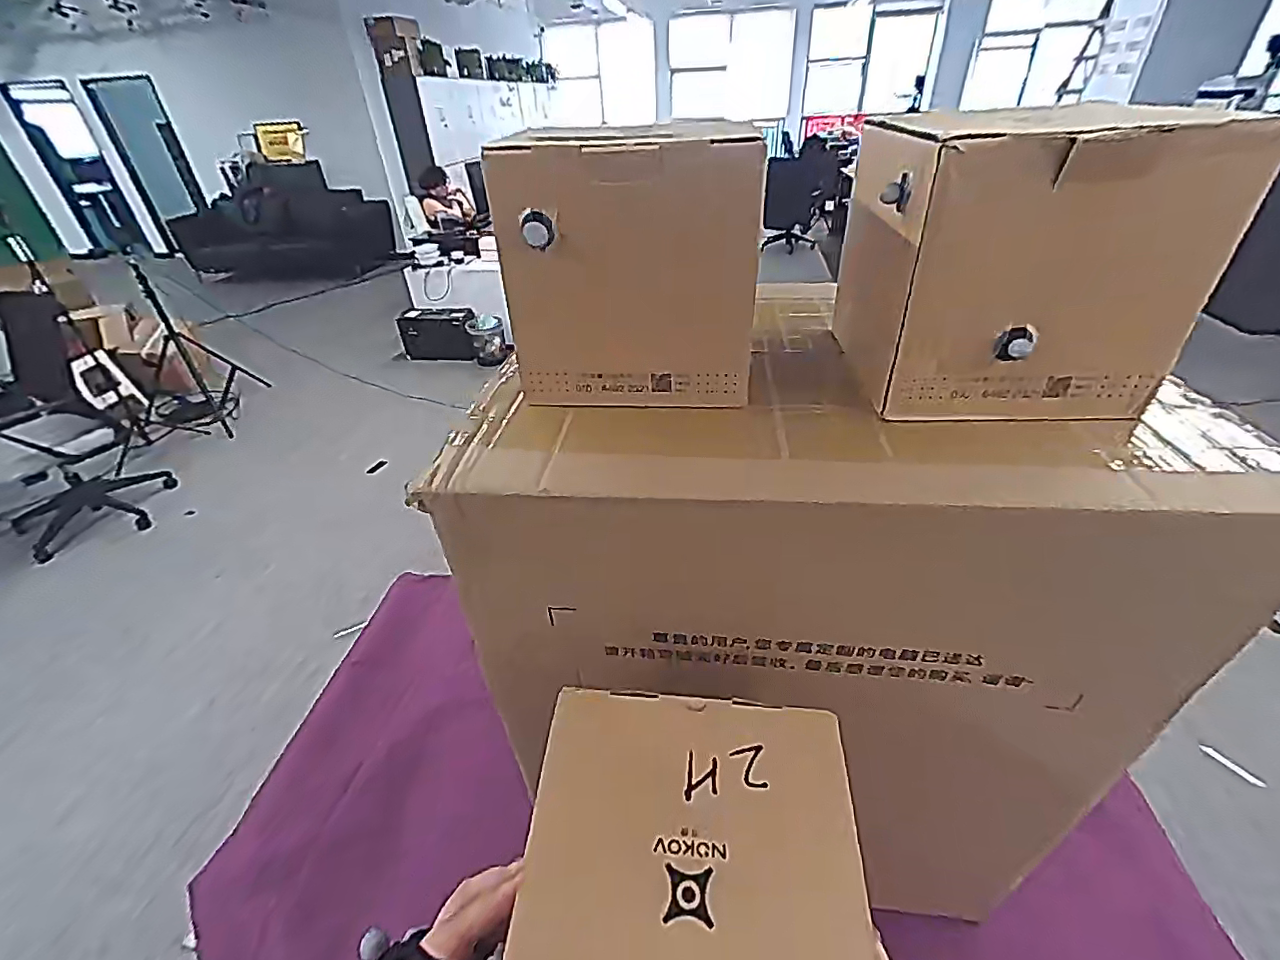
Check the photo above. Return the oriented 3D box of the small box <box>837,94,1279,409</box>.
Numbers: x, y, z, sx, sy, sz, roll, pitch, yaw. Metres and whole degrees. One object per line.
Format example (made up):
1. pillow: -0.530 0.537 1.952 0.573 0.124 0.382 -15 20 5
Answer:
1. small box: 0.249 -0.164 0.382 0.168 0.176 0.179 -1 36 6
